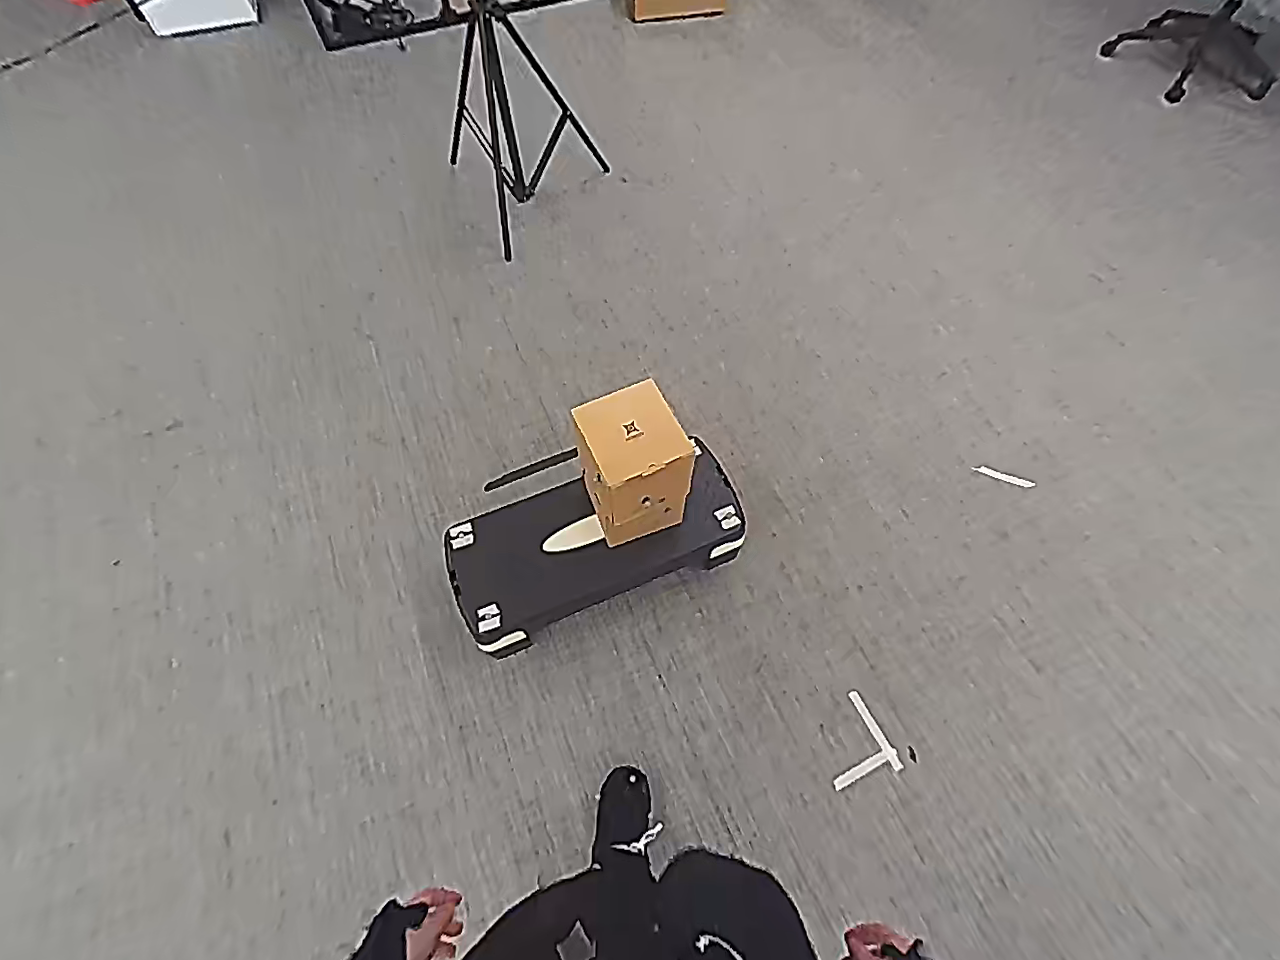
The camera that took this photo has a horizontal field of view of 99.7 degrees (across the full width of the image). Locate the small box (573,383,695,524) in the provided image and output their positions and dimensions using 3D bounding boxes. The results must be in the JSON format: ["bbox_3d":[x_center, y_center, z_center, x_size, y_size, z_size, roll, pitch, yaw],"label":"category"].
[{"bbox_3d":[-0.015,-0.046,1.022,0.168,0.176,0.179,-23,66,-12],"label":"small box"}]

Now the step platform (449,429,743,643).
[{"bbox_3d":[-0.099,0.127,1.310,0.684,0.204,0.286,-22,64,-10],"label":"step platform"}]
